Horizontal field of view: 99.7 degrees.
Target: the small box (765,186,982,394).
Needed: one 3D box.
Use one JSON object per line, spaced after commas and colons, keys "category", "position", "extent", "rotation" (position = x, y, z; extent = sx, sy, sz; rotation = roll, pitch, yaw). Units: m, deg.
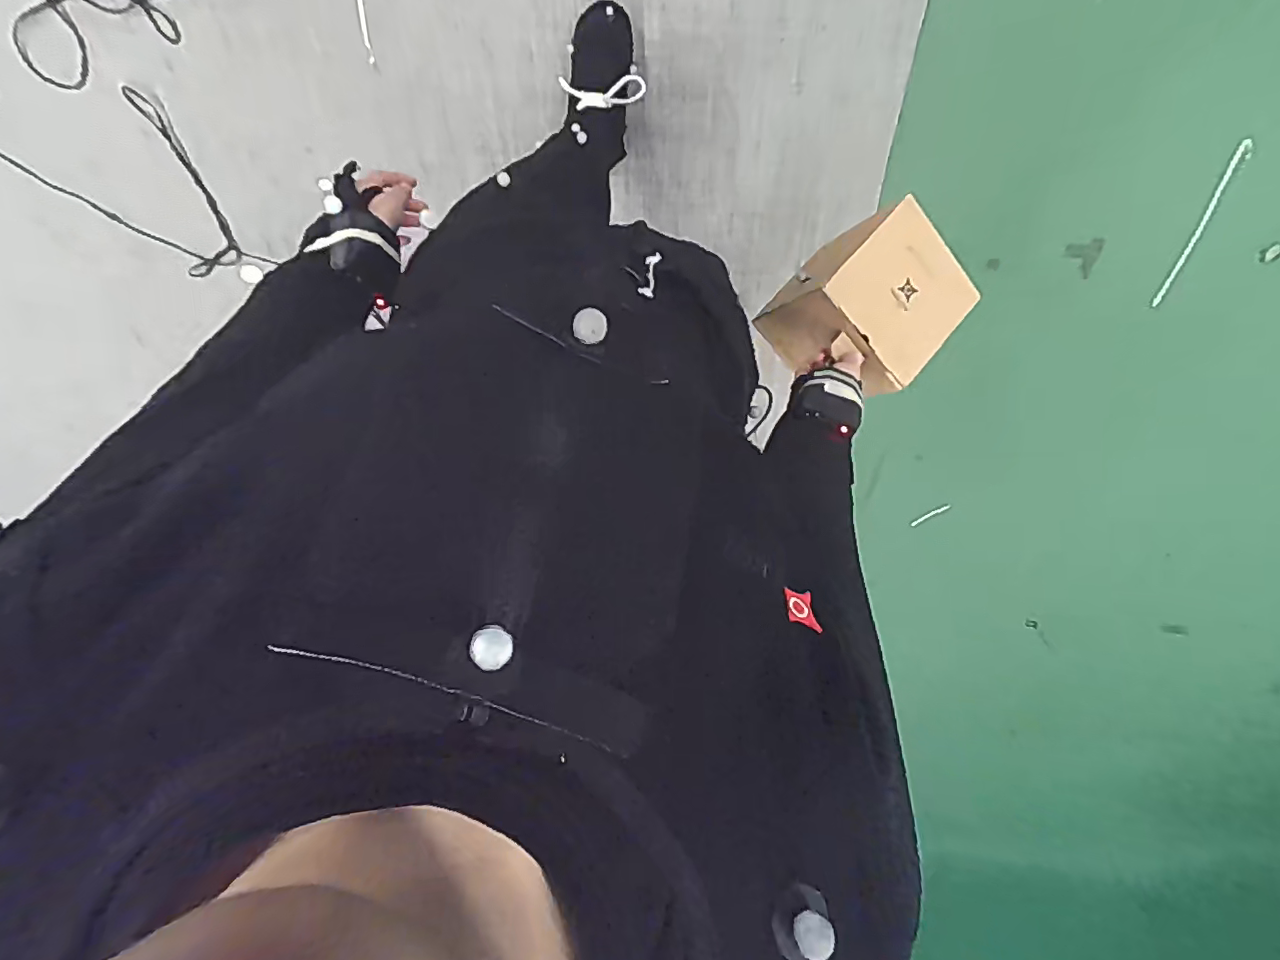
{"category": "small box", "position": [0.292, -0.232, 0.715], "extent": [0.168, 0.176, 0.179], "rotation": [44, 78, -16]}
